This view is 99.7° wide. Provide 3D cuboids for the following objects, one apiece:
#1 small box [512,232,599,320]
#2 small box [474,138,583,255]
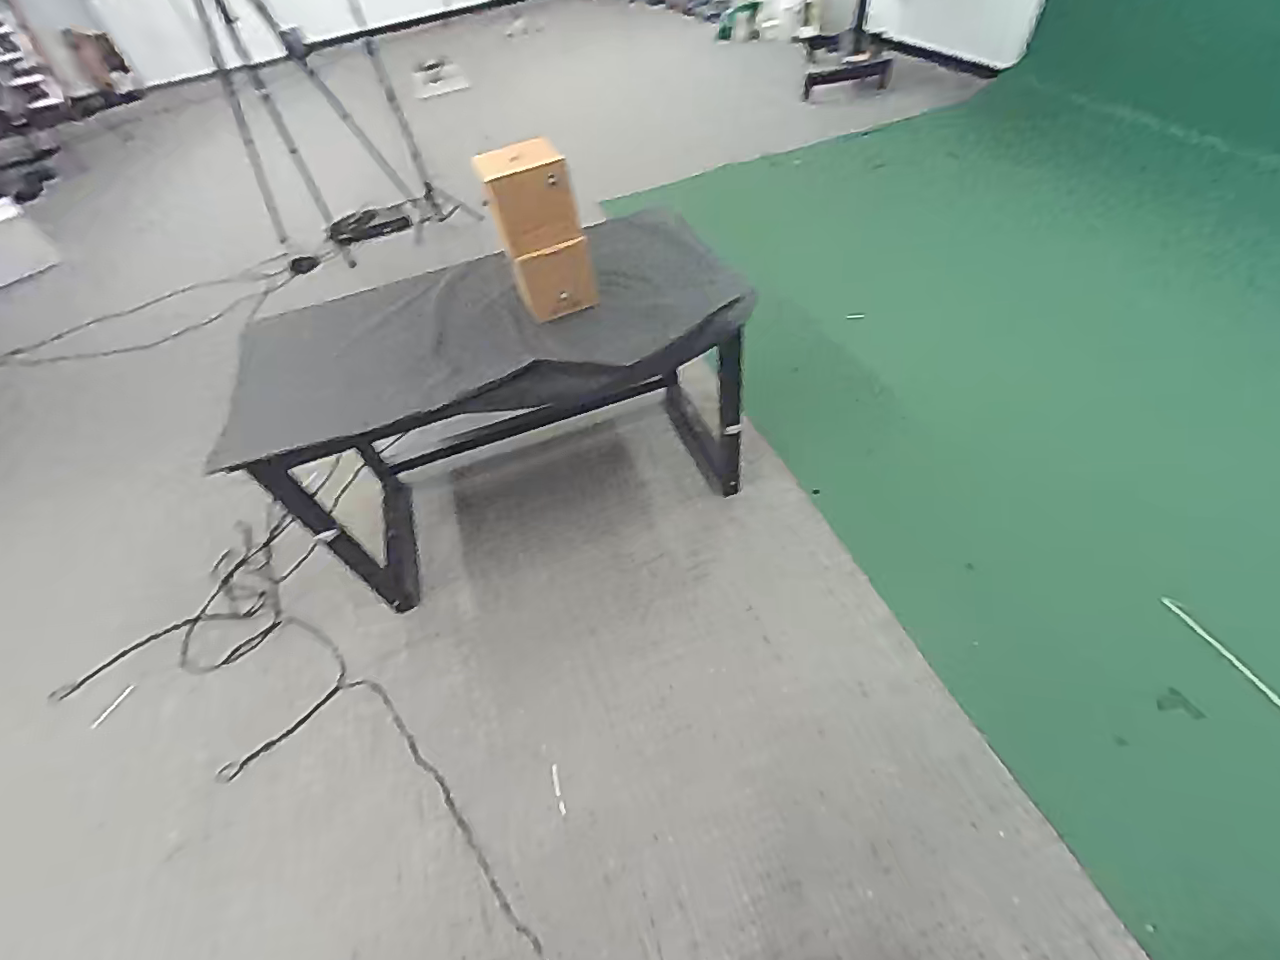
[{"bbox_3d":[-0.214,-0.522,1.325,0.168,0.176,0.179,-21,51,-8],"label":"small box"},{"bbox_3d":[-0.246,-0.630,1.207,0.179,0.176,0.168,-22,50,-10],"label":"small box"}]
